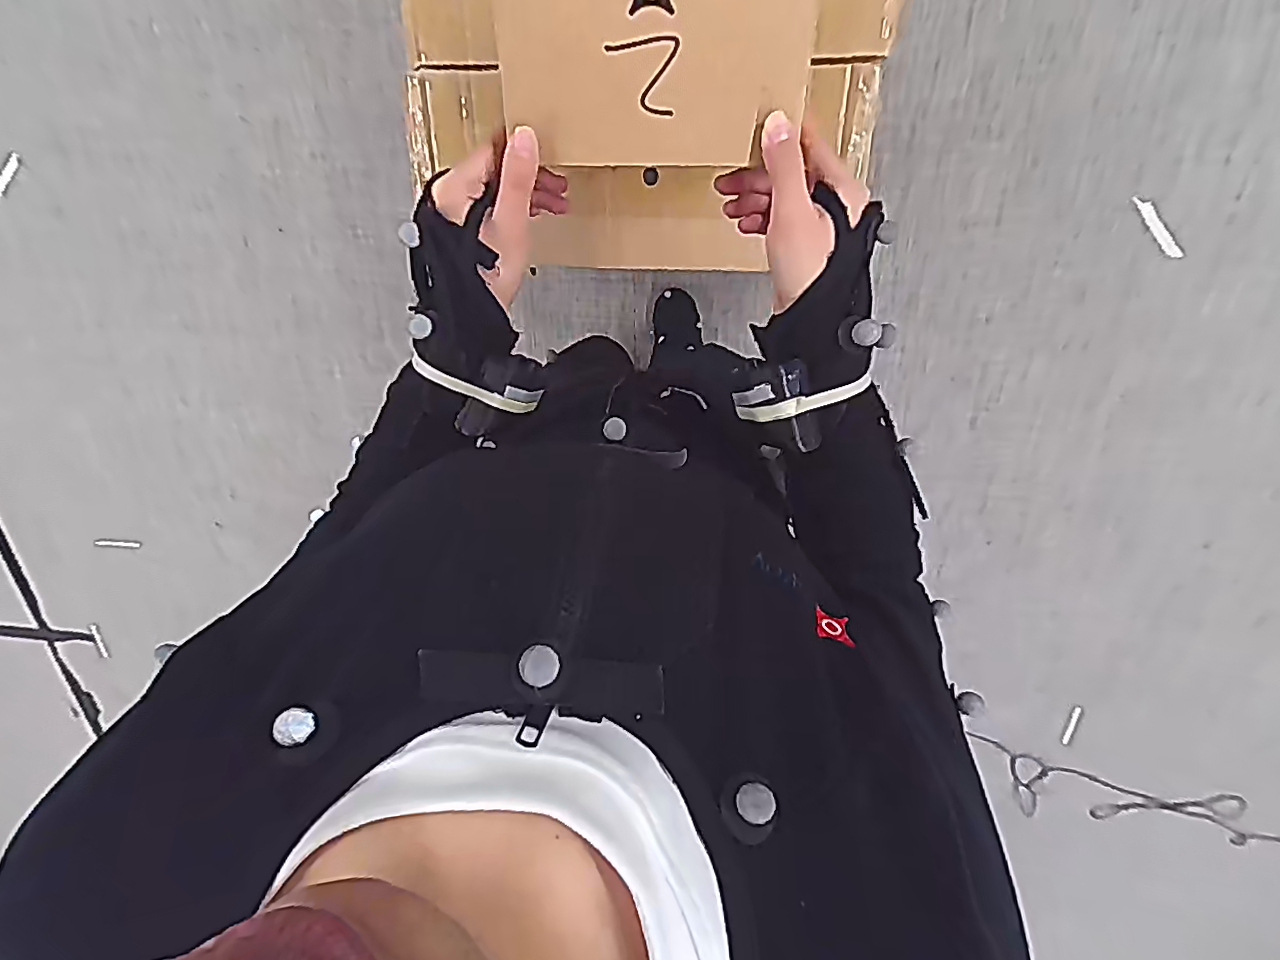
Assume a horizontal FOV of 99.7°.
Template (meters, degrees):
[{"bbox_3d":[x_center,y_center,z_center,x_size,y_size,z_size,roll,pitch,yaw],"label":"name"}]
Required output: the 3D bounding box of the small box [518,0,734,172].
[{"bbox_3d":[-0.006,-0.396,0.507,0.179,0.176,0.168,4,112,4],"label":"small box"}]
